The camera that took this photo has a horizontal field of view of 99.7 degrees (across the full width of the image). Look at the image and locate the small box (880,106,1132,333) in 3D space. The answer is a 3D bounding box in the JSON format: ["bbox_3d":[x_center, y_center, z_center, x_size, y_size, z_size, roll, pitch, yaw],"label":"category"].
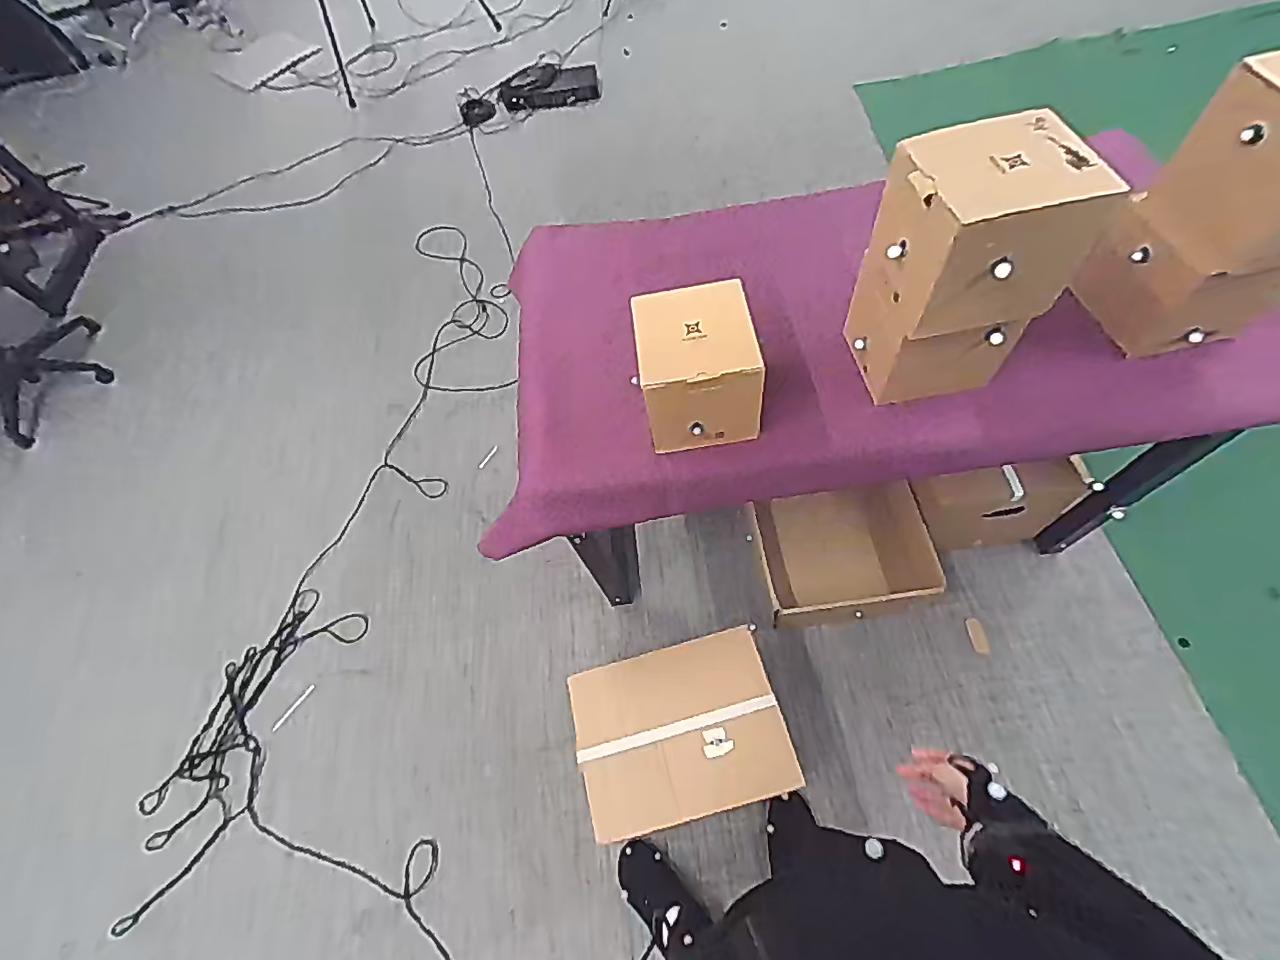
[{"bbox_3d":[0.407,-0.301,0.648,0.179,0.176,0.168,-11,59,4],"label":"small box"}]

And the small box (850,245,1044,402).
[{"bbox_3d":[0.434,-0.238,0.798,0.179,0.176,0.168,-11,59,4],"label":"small box"}]

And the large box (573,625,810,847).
[{"bbox_3d":[0.105,0.559,1.183,0.408,0.320,0.320,-16,60,0],"label":"large box"}]

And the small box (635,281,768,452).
[{"bbox_3d":[0.089,-0.166,0.819,0.168,0.176,0.179,-9,60,4],"label":"small box"}]

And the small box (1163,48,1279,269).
[{"bbox_3d":[0.785,-0.380,0.626,0.168,0.176,0.179,-12,59,5],"label":"small box"}]

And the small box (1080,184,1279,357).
[{"bbox_3d":[0.793,-0.308,0.775,0.168,0.176,0.179,-12,59,4],"label":"small box"}]
